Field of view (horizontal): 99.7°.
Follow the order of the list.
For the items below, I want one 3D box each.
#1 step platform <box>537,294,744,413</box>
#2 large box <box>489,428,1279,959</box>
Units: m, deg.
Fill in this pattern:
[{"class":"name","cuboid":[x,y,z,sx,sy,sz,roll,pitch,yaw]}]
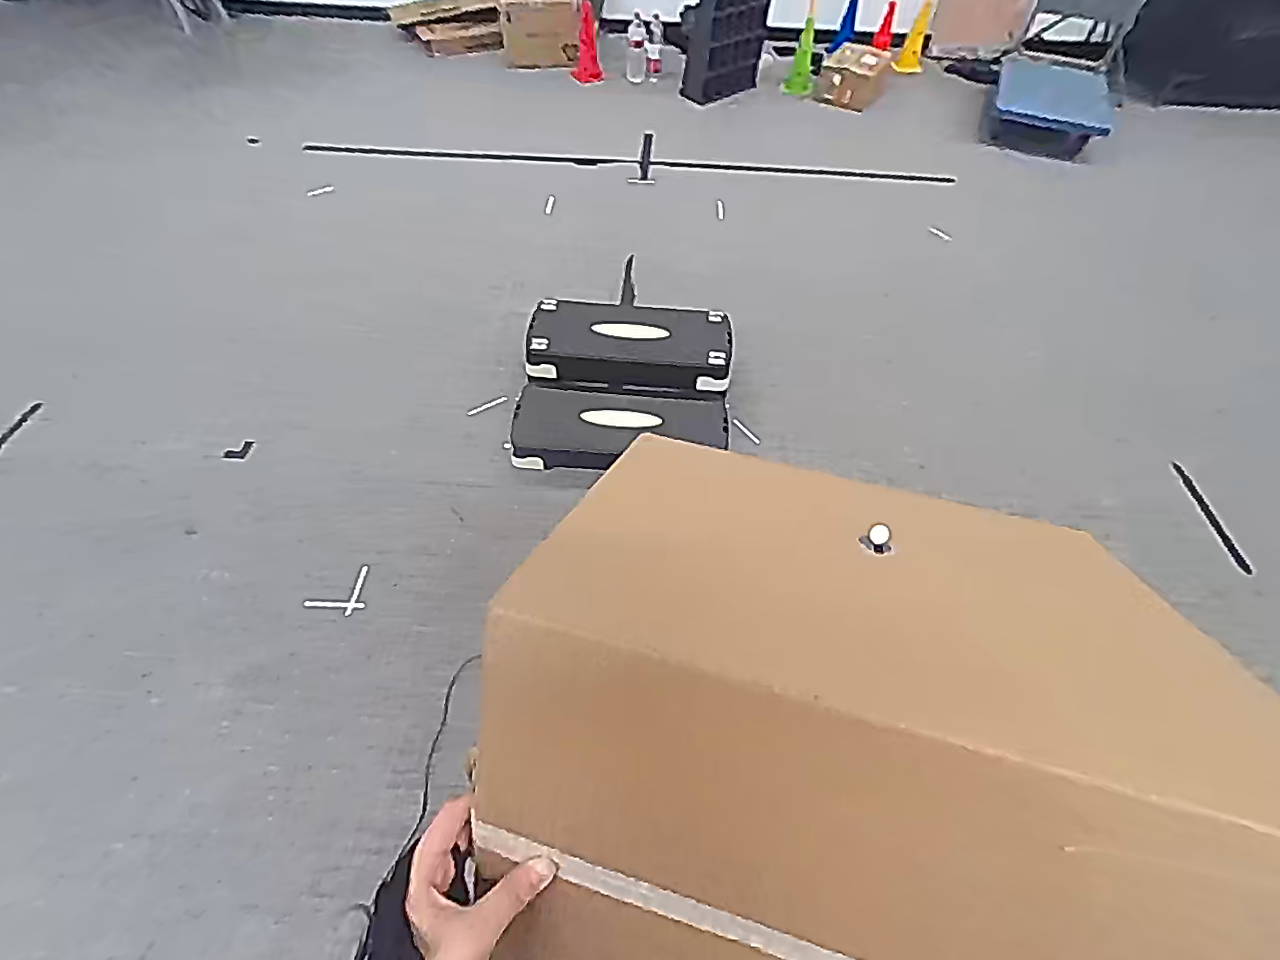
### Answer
[{"class":"step platform","cuboid":[0.003,-0.432,1.822,0.684,0.204,0.286,9,55,3]},{"class":"large box","cuboid":[0.141,0.171,0.408,0.408,0.320,0.320,12,23,9]}]
